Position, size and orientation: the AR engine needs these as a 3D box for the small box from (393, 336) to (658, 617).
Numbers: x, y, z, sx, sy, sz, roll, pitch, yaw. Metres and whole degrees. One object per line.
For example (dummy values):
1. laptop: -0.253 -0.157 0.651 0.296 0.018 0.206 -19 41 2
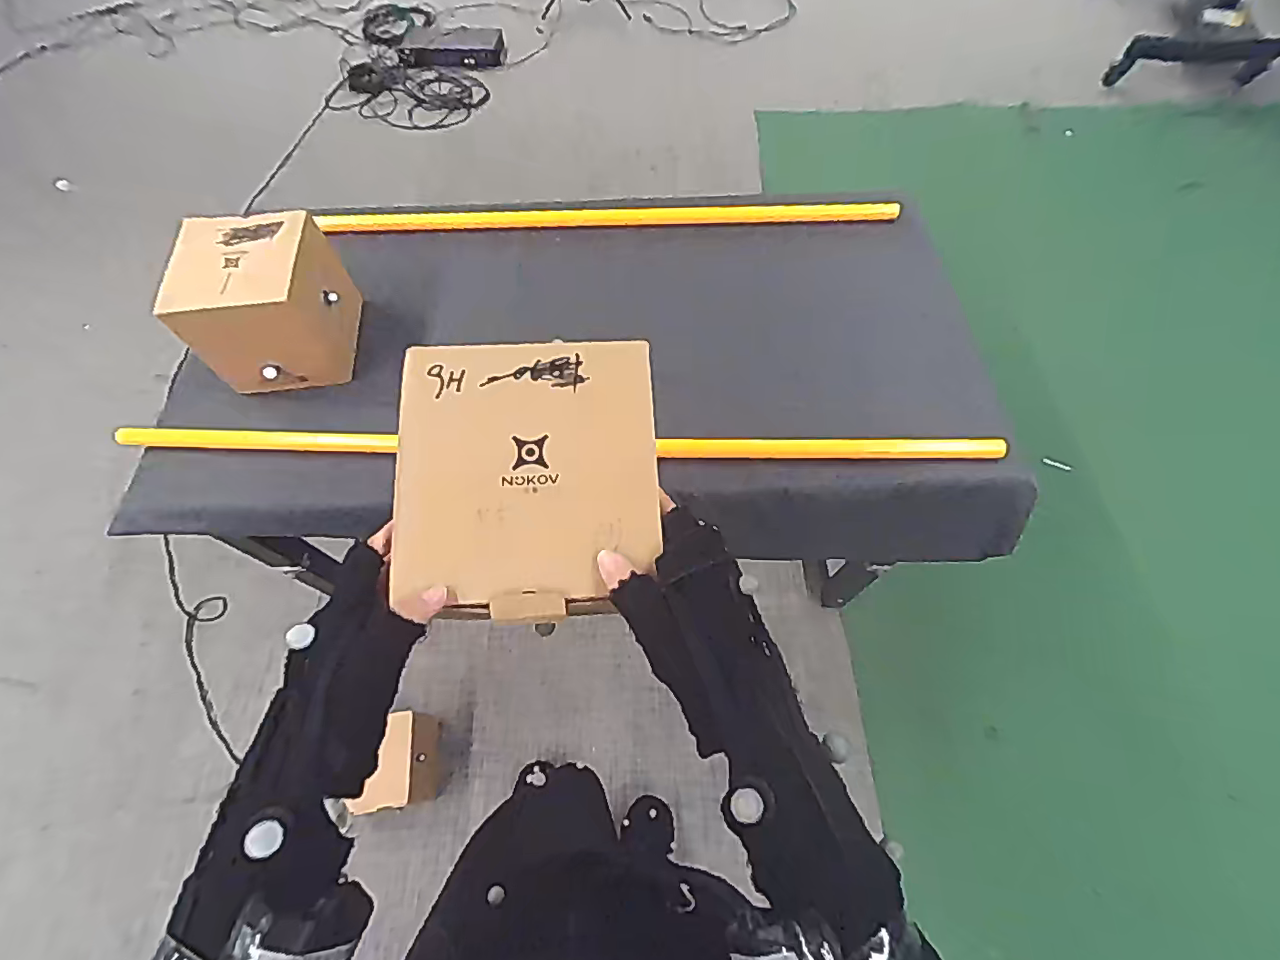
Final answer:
1. small box: -0.077 0.012 0.427 0.168 0.176 0.179 -6 74 -3

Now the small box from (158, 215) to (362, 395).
1. small box: -0.524 -0.247 0.779 0.168 0.176 0.179 -7 63 -3
